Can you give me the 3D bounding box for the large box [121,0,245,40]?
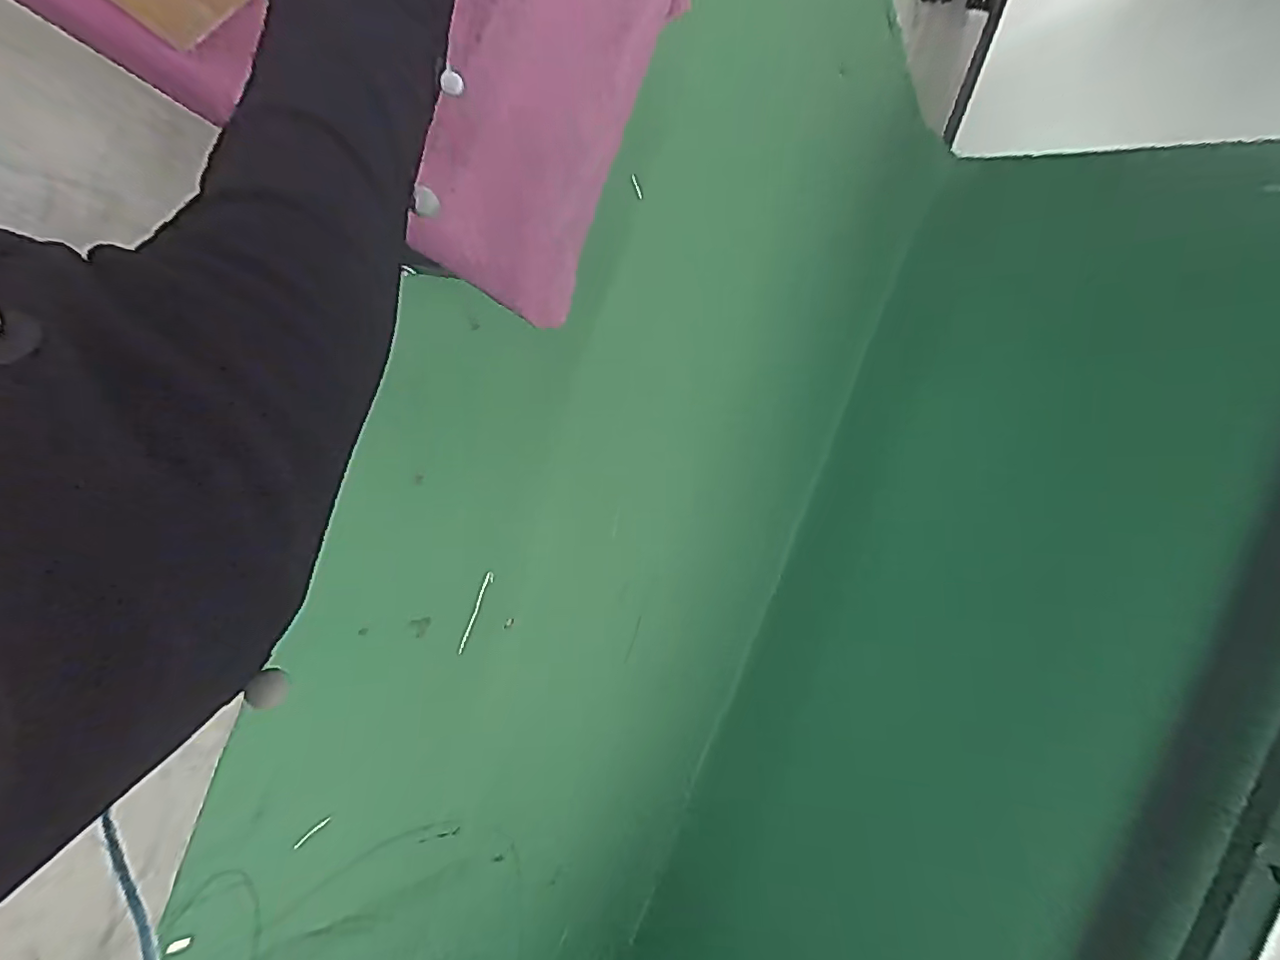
[{"bbox_3d":[-0.349,-0.604,0.330,0.320,0.320,0.408,24,89,-52],"label":"large box"}]
